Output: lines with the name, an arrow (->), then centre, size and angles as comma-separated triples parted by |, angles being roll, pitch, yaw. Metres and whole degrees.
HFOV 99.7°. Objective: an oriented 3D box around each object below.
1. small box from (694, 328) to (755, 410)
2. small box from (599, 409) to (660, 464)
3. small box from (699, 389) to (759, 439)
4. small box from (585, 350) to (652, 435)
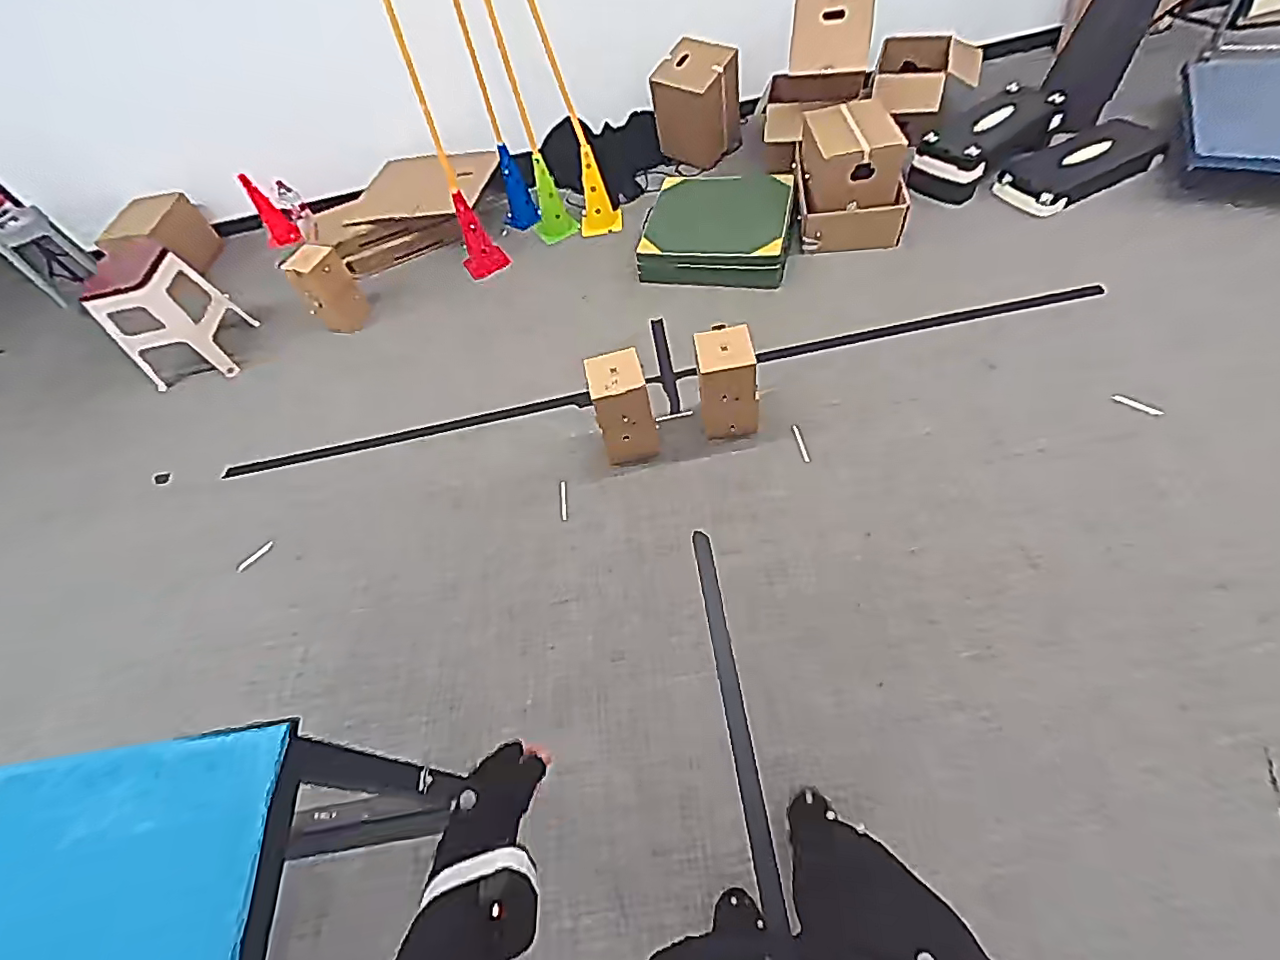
small box -> 0.261, -0.343, 1.685 | 0.168, 0.176, 0.179 | -9, 56, 6
small box -> -0.040, -0.175, 1.822 | 0.179, 0.176, 0.168 | -13, 55, 1
small box -> 0.294, -0.258, 1.820 | 0.179, 0.176, 0.168 | -7, 55, 4
small box -> -0.065, -0.270, 1.691 | 0.168, 0.176, 0.179 | -15, 55, 1
